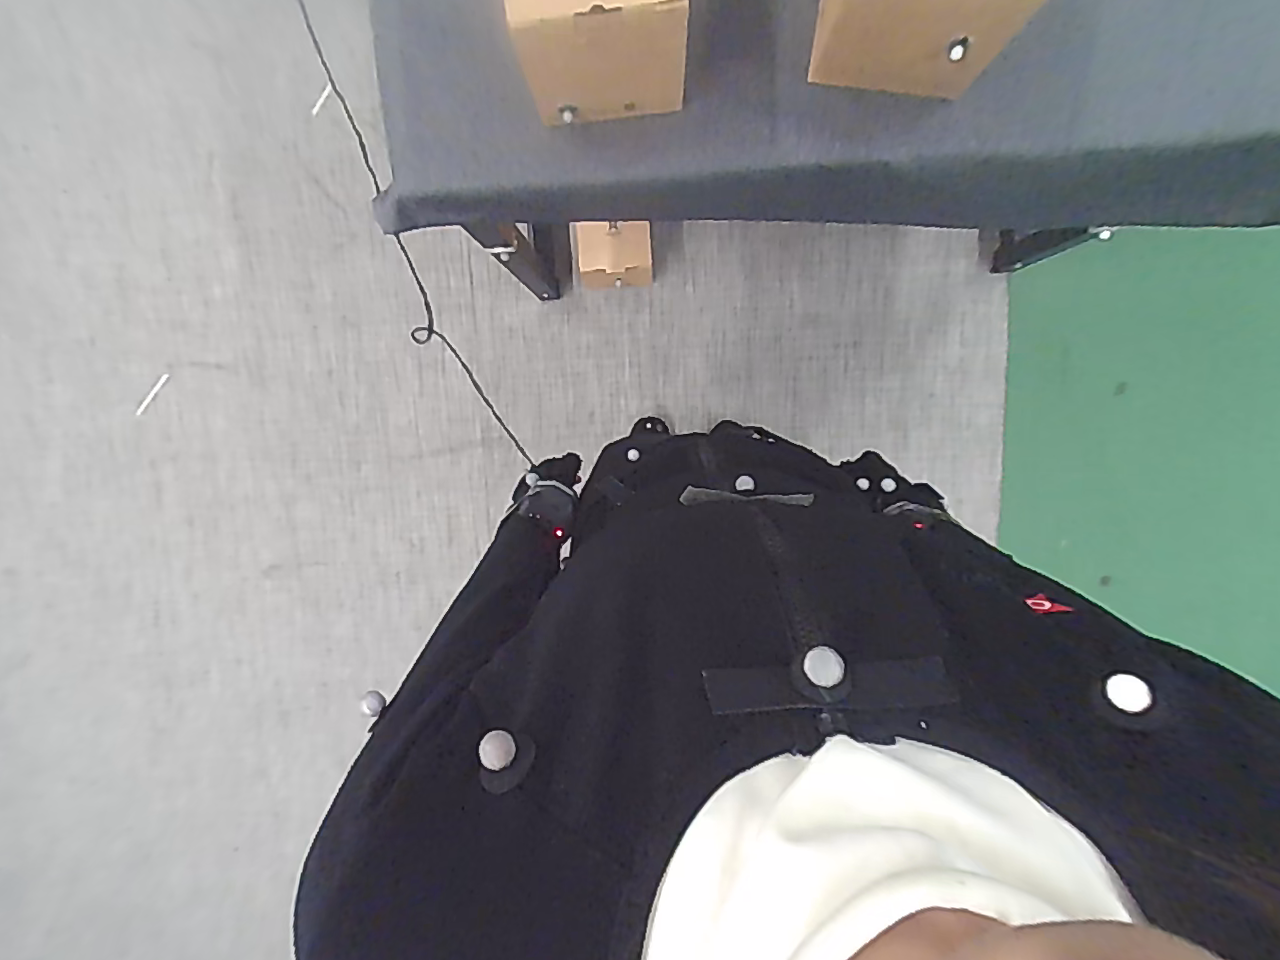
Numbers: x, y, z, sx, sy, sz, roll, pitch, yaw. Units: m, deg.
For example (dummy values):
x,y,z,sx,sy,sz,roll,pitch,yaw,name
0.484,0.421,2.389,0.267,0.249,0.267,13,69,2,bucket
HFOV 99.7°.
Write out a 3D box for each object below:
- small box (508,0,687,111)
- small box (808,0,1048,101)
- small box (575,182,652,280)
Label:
x,y,z,sx,sy,sz,roll,pitch,yaw,name
-0.039,-0.512,0.555,0.168,0.176,0.179,-4,95,2,small box
0.291,-0.523,0.548,0.179,0.176,0.168,8,96,2,small box
-0.058,-0.581,1.285,0.168,0.176,0.179,-2,98,2,small box
